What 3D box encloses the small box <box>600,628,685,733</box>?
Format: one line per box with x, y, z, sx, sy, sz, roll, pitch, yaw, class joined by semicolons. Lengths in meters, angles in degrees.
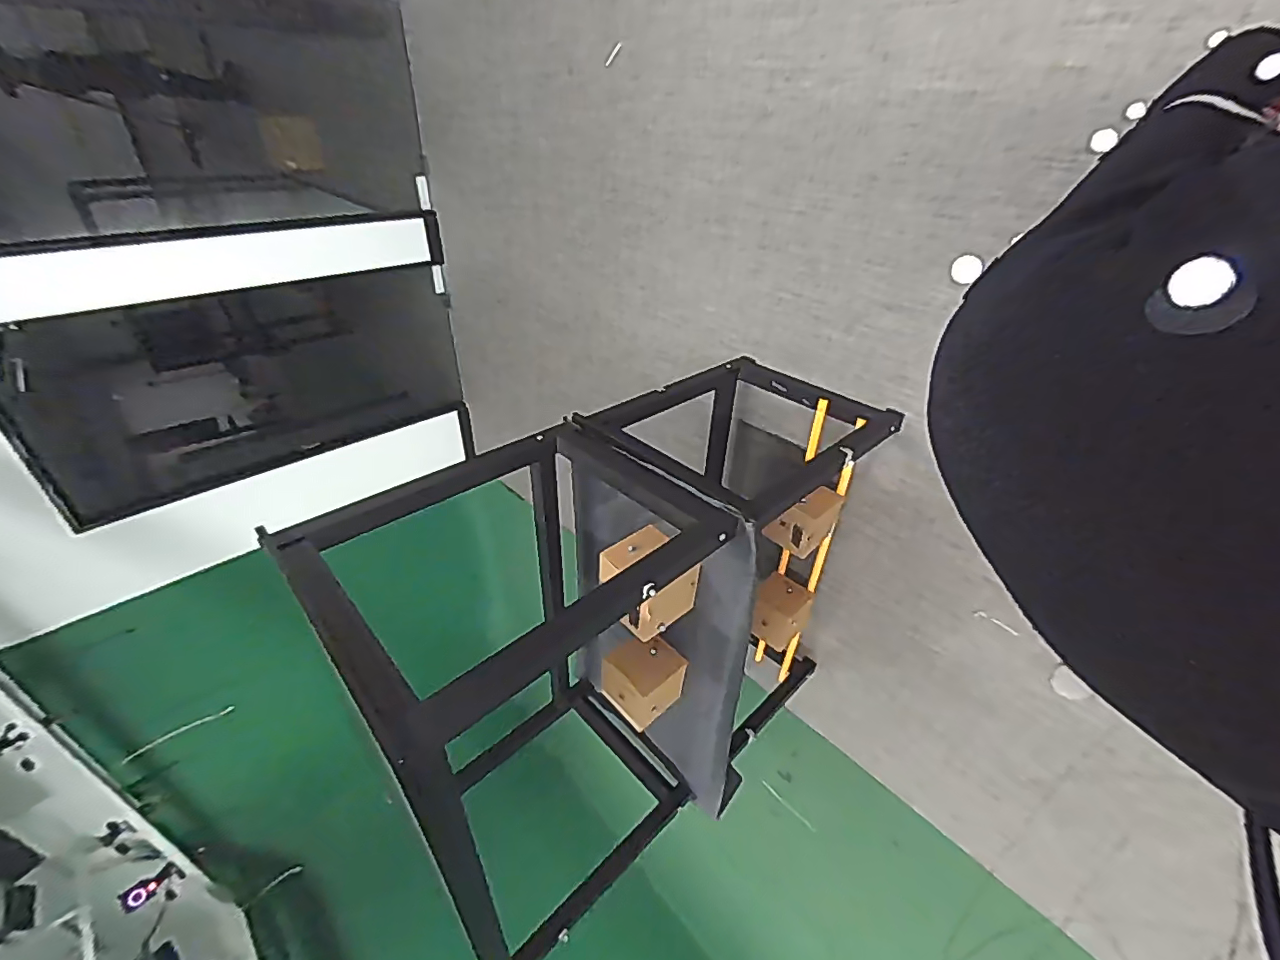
0.007;0.556;1.512;0.168;0.176;0.179;34;135;33;small box

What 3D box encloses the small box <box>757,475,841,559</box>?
0.498;0.108;1.690;0.179;0.176;0.168;34;135;33;small box
